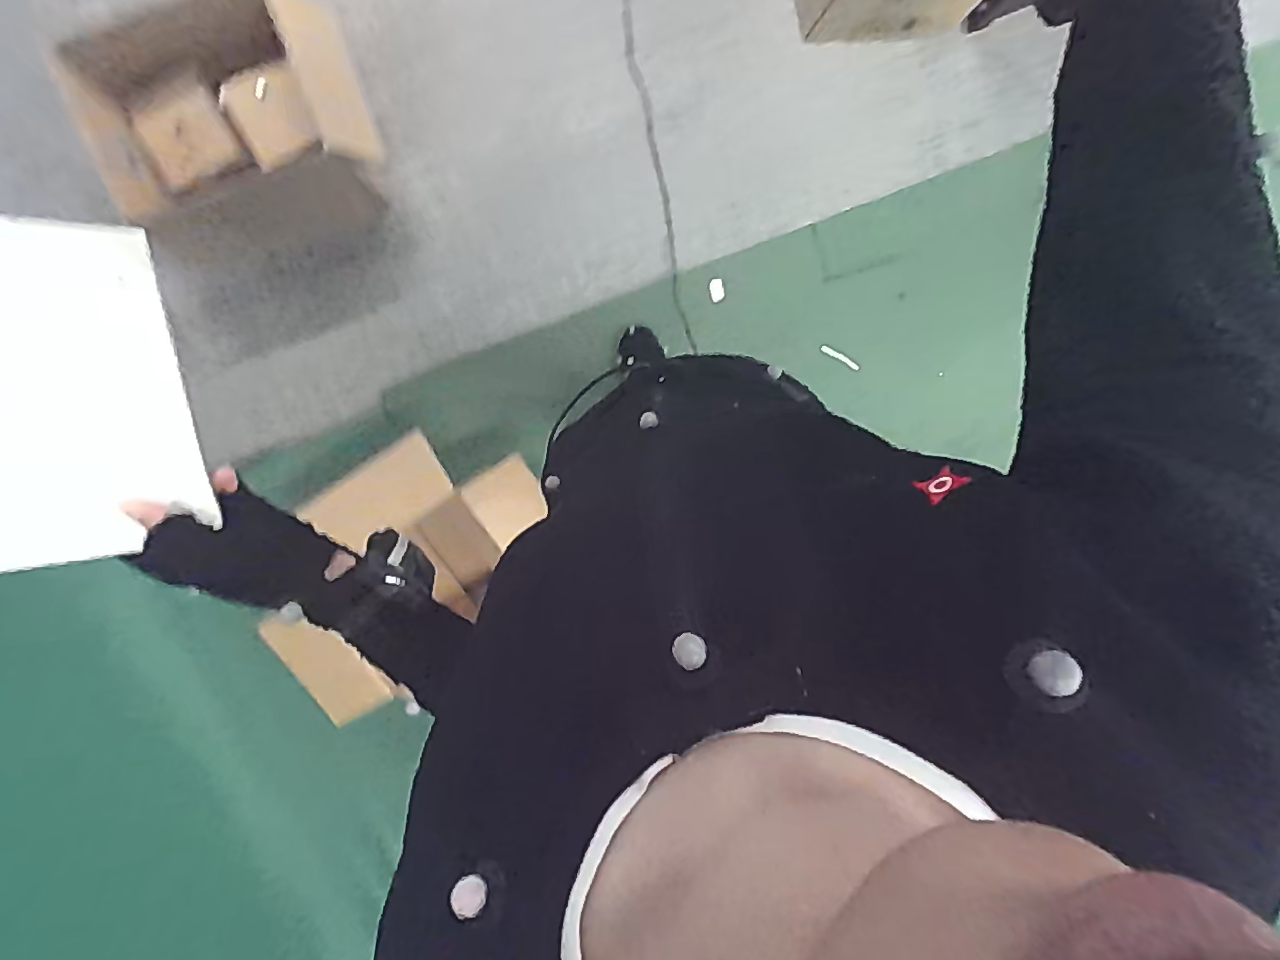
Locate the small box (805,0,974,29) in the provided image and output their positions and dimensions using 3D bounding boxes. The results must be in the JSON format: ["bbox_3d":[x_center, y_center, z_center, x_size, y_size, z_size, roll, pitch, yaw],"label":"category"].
[{"bbox_3d":[0.233,-0.507,0.431,0.168,0.176,0.179,-13,93,-15],"label":"small box"}]
